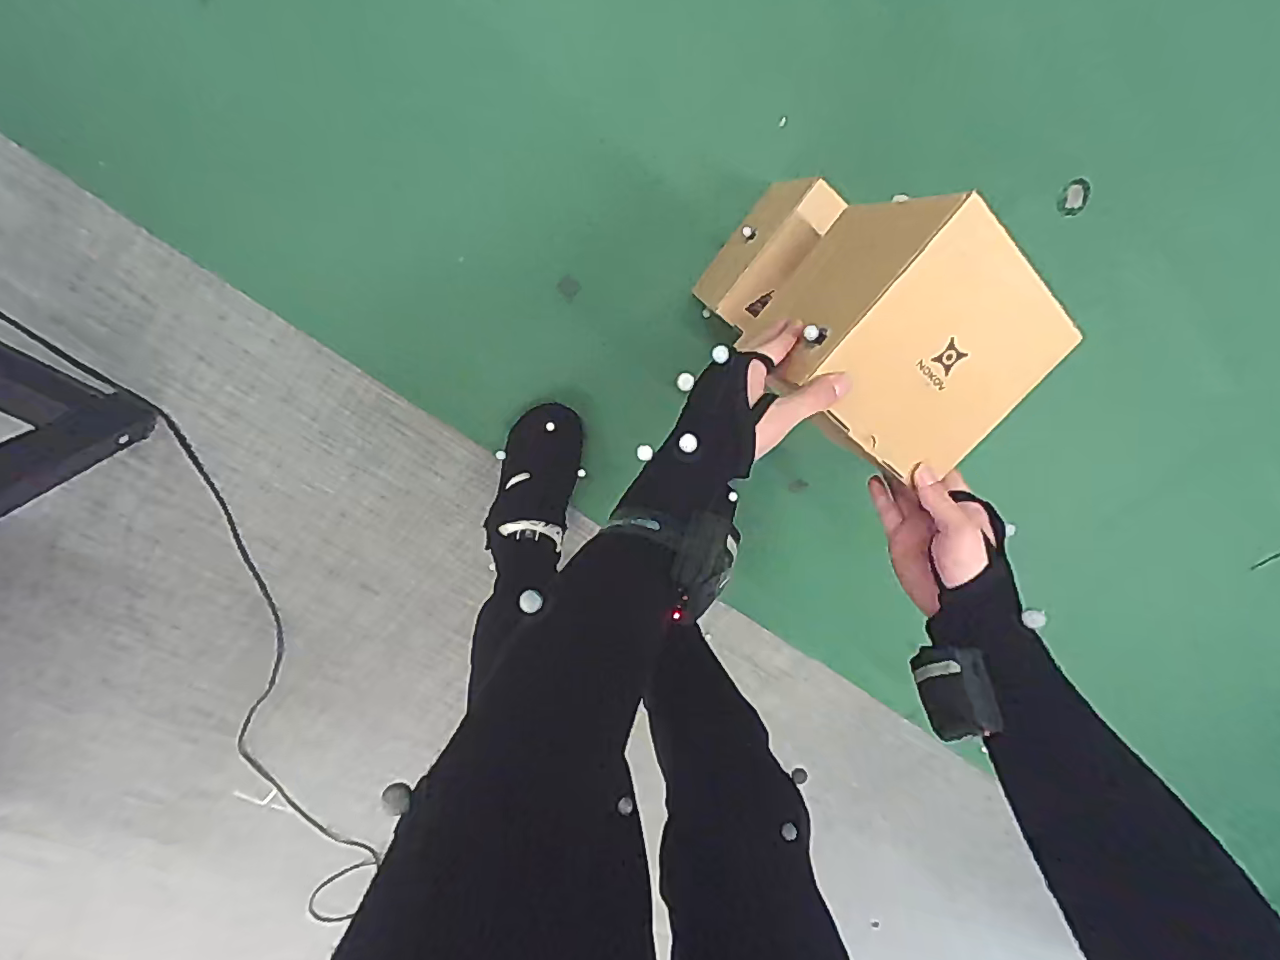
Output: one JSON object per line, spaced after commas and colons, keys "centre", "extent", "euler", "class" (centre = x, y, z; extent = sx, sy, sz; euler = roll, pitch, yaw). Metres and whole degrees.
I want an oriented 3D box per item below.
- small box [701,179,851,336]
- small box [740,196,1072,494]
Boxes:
{"centre": [0.196, -0.255, 0.702], "extent": [0.168, 0.176, 0.179], "euler": [33, 108, -20], "class": "small box"}
{"centre": [0.221, -0.126, 0.493], "extent": [0.168, 0.176, 0.179], "euler": [35, 105, -23], "class": "small box"}
